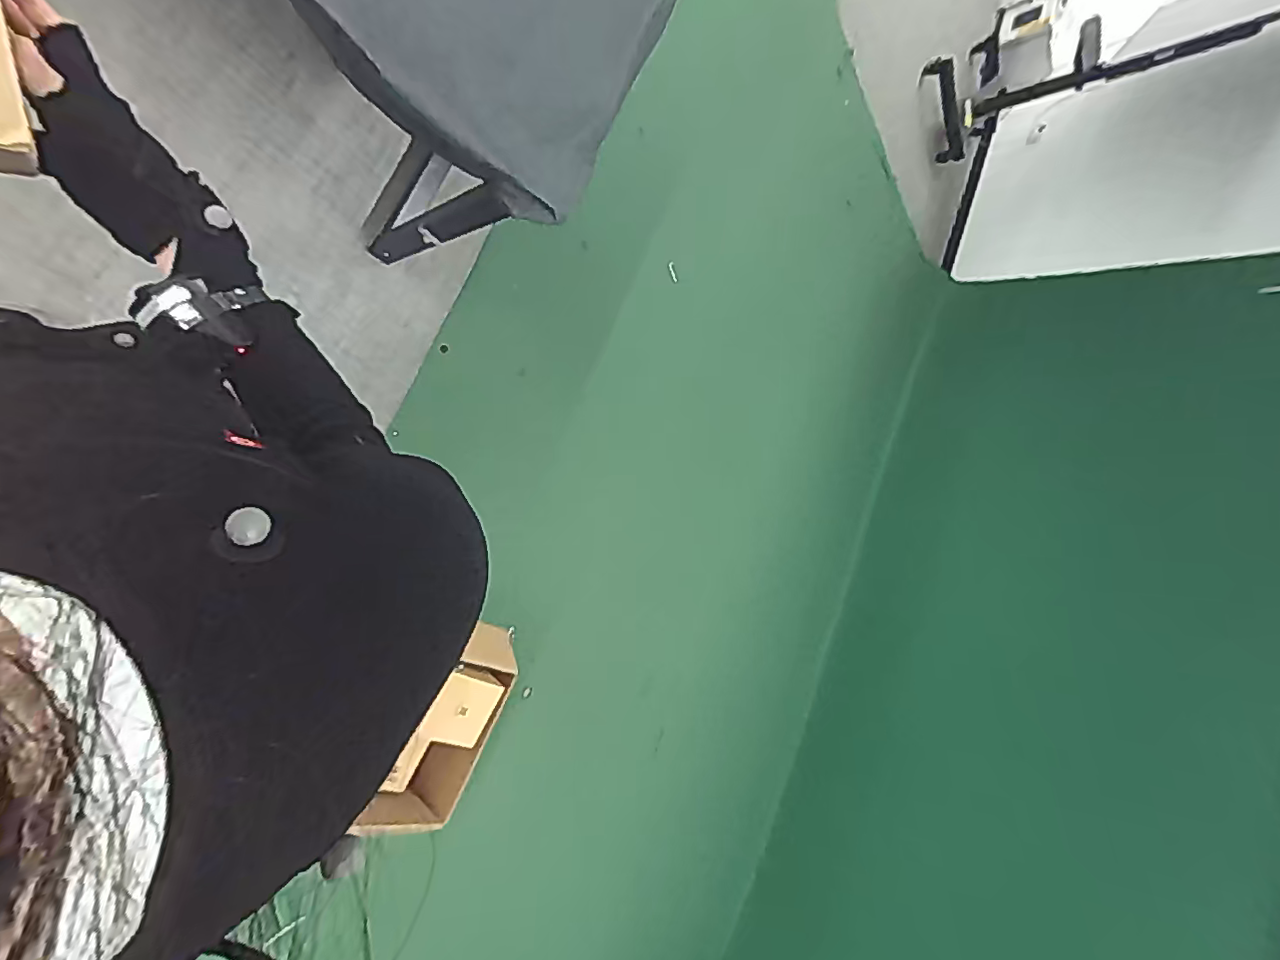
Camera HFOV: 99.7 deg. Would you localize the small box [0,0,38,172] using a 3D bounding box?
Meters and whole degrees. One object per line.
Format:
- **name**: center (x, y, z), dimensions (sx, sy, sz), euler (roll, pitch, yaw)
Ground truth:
- **small box**: center (-0.439, -0.273, 0.266), dimensions (0.168, 0.176, 0.179), euler (-13, 116, -45)
